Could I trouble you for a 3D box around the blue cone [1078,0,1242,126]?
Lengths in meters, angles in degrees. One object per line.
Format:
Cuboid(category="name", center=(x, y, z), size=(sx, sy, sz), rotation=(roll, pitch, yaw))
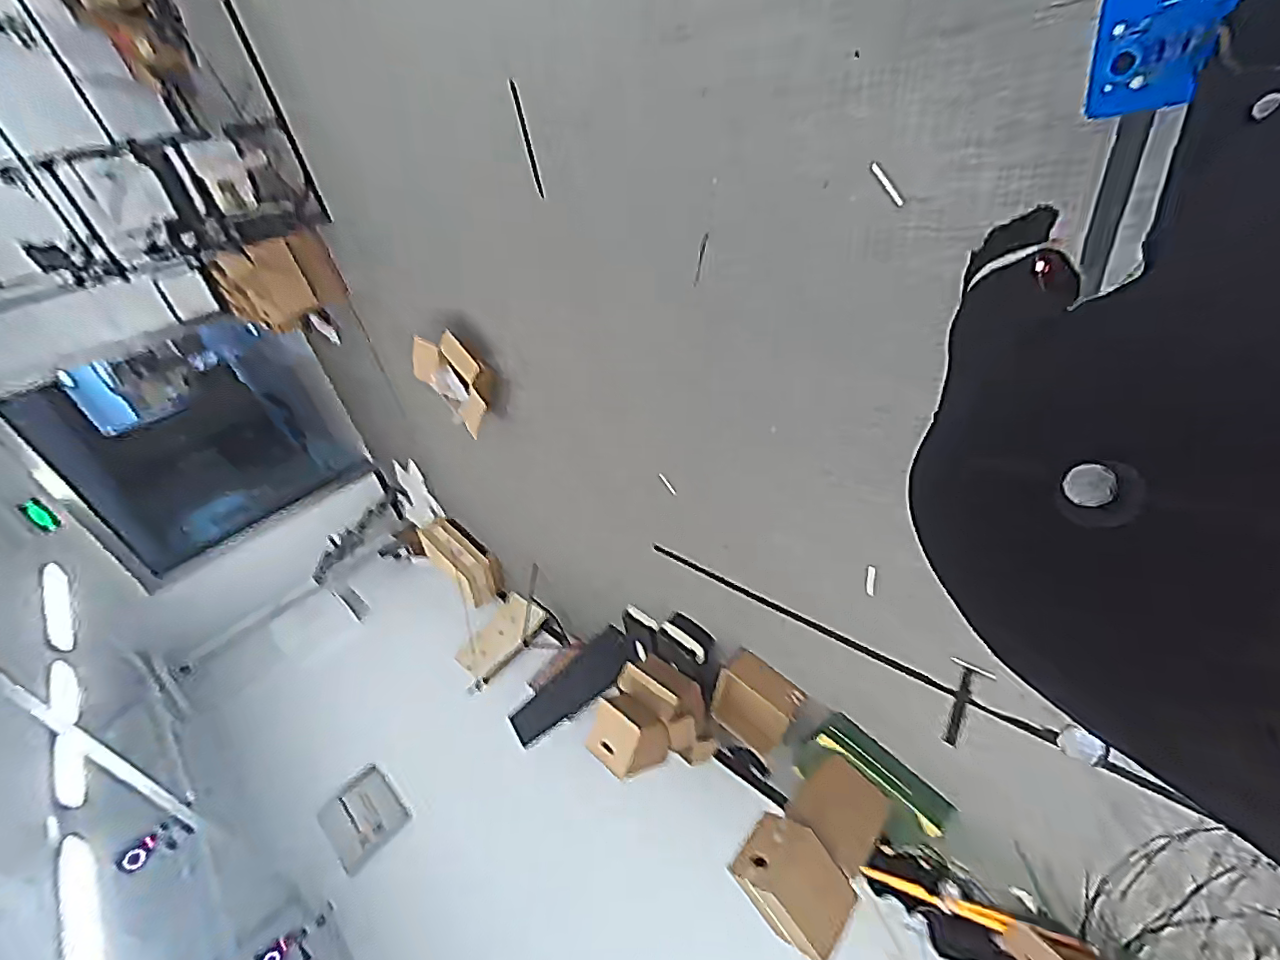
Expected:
Cuboid(category="blue cone", center=(0.756, -0.640, 0.825), size=(0.192, 0.380, 0.193), rotation=(17, 132, 43))
